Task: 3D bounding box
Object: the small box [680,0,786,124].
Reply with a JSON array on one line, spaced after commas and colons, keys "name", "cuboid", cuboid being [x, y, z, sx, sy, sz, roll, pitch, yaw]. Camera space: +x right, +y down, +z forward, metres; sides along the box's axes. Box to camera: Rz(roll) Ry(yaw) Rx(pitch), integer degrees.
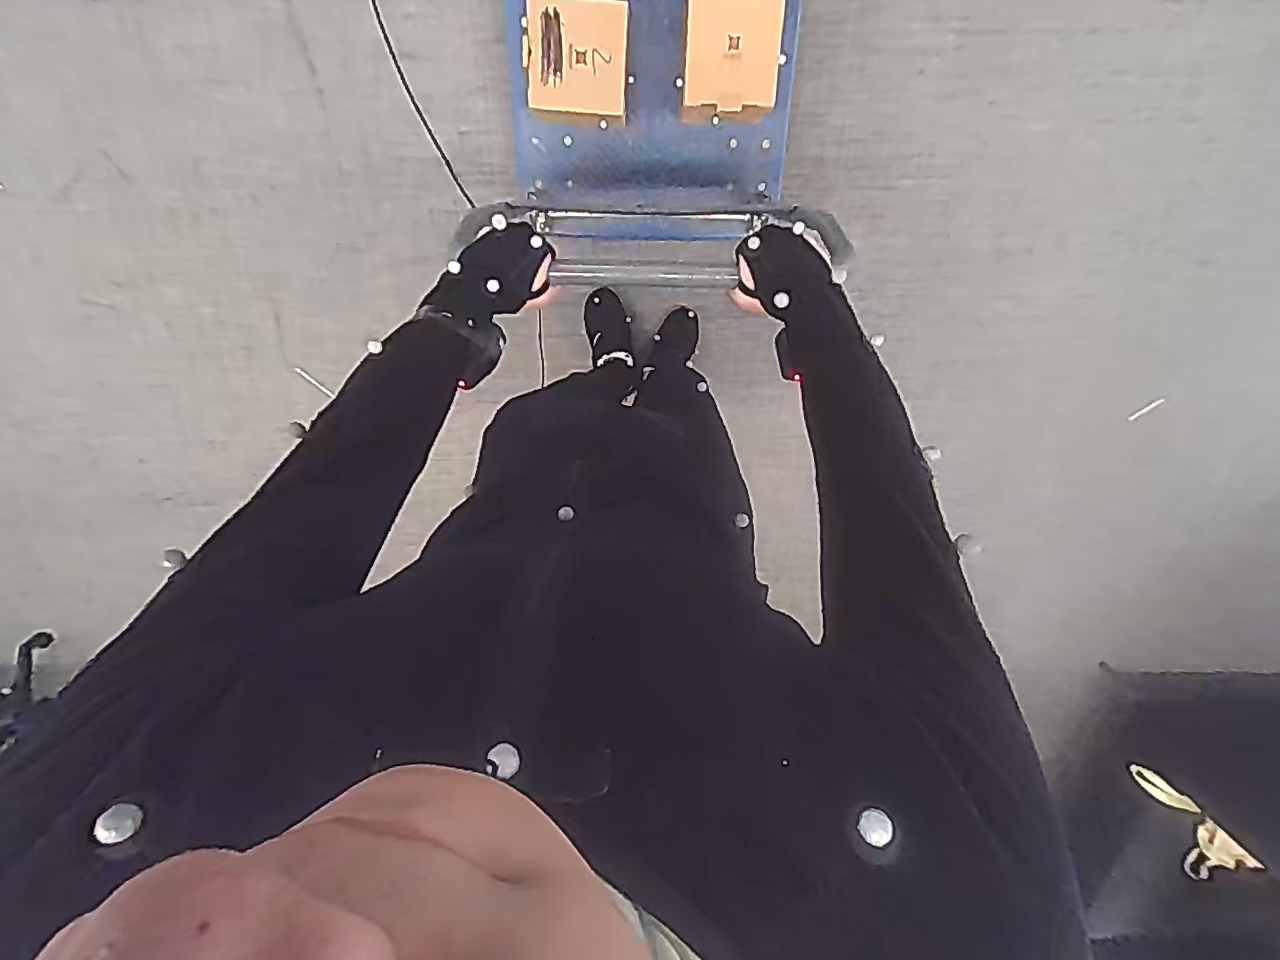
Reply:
[{"name": "small box", "cuboid": [0.165, -0.789, 1.017, 0.168, 0.176, 0.179, 1, 116, 0]}]
